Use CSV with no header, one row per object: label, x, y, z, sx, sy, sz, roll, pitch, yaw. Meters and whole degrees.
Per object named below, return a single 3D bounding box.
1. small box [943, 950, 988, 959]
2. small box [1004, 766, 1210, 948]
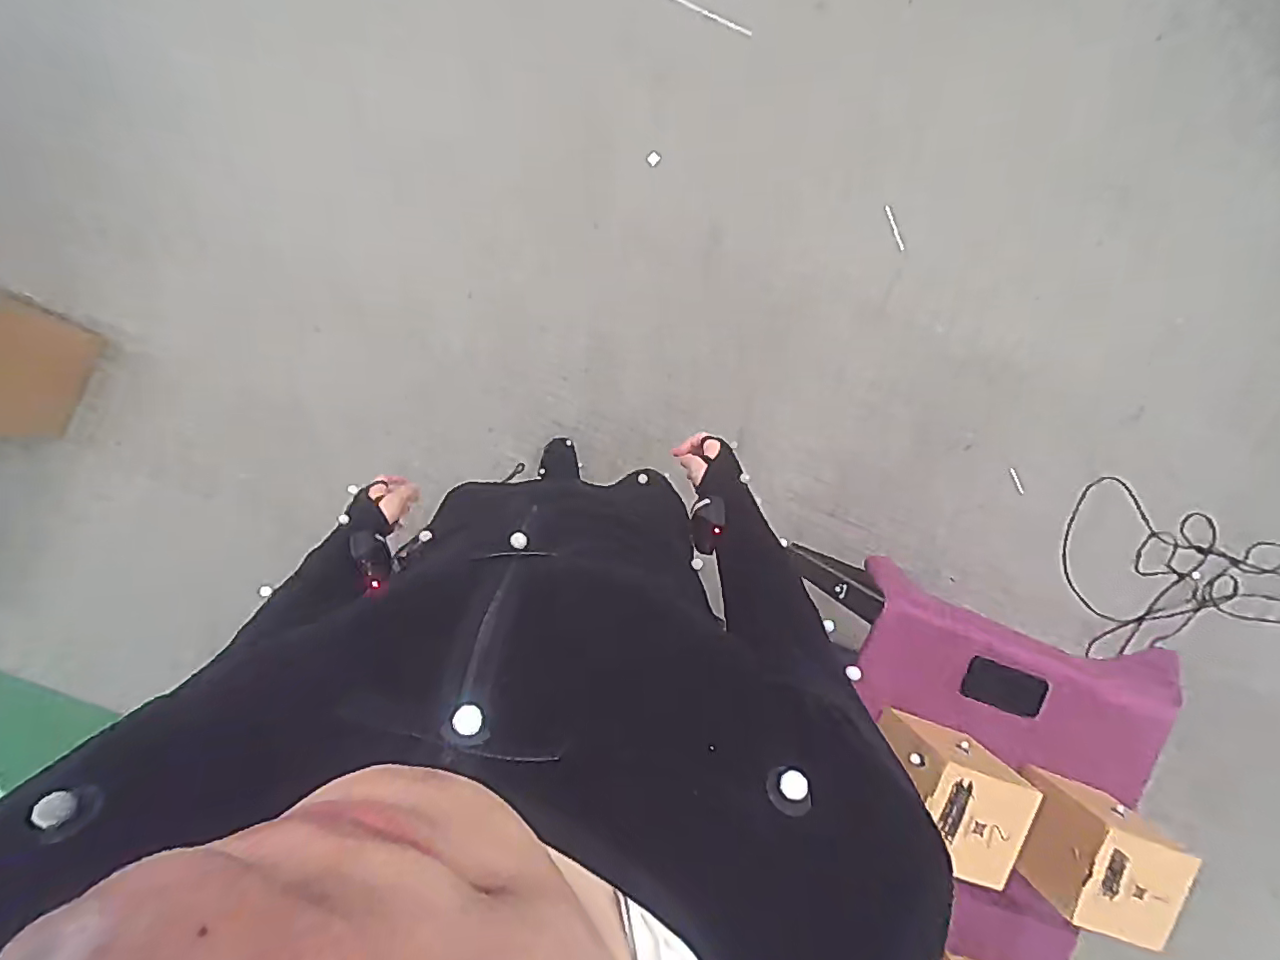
small box,0.629,0.978,0.938,0.179,0.176,0.168,23,92,-4
small box,0.772,0.622,0.916,0.179,0.176,0.168,21,93,-5
